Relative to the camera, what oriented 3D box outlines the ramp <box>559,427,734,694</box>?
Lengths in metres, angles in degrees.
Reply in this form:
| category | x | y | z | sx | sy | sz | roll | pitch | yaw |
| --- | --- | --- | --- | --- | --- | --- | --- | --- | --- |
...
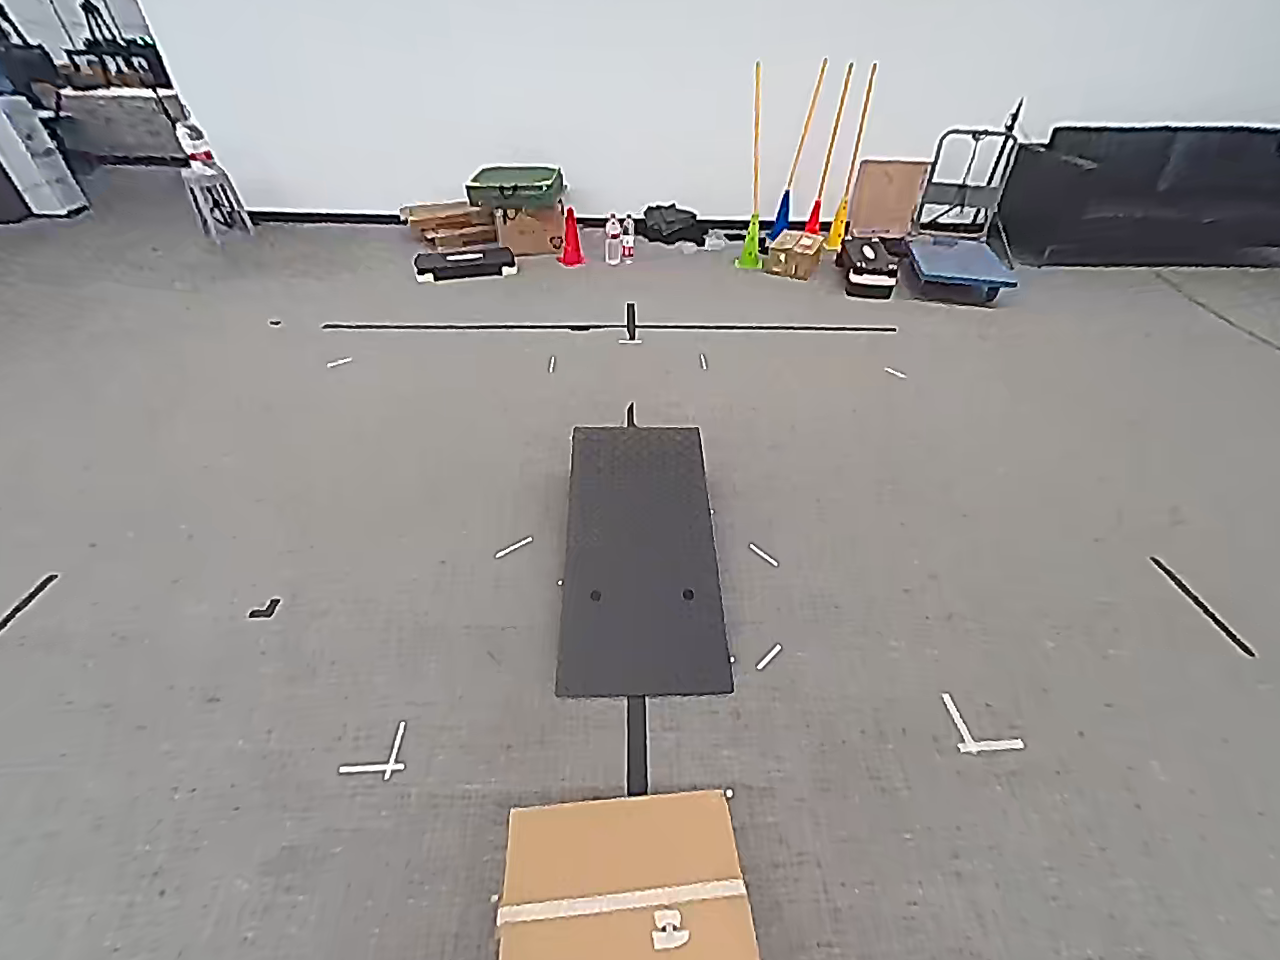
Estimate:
| category | x | y | z | sx | sy | sz | roll | pitch | yaw |
| --- | --- | --- | --- | --- | --- | --- | --- | --- | --- |
| ramp | 0.009 | 0.194 | 1.791 | 0.509 | 0.206 | 0.991 | 0 | 41 | -4 |

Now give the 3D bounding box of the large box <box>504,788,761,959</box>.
| category | x | y | z | sx | sy | sz | roll | pitch | yaw |
| --- | --- | --- | --- | --- | --- | --- | --- | --- | --- |
| large box | -0.025 | 0.808 | 0.990 | 0.408 | 0.320 | 0.320 | -2 | 41 | -5 |
